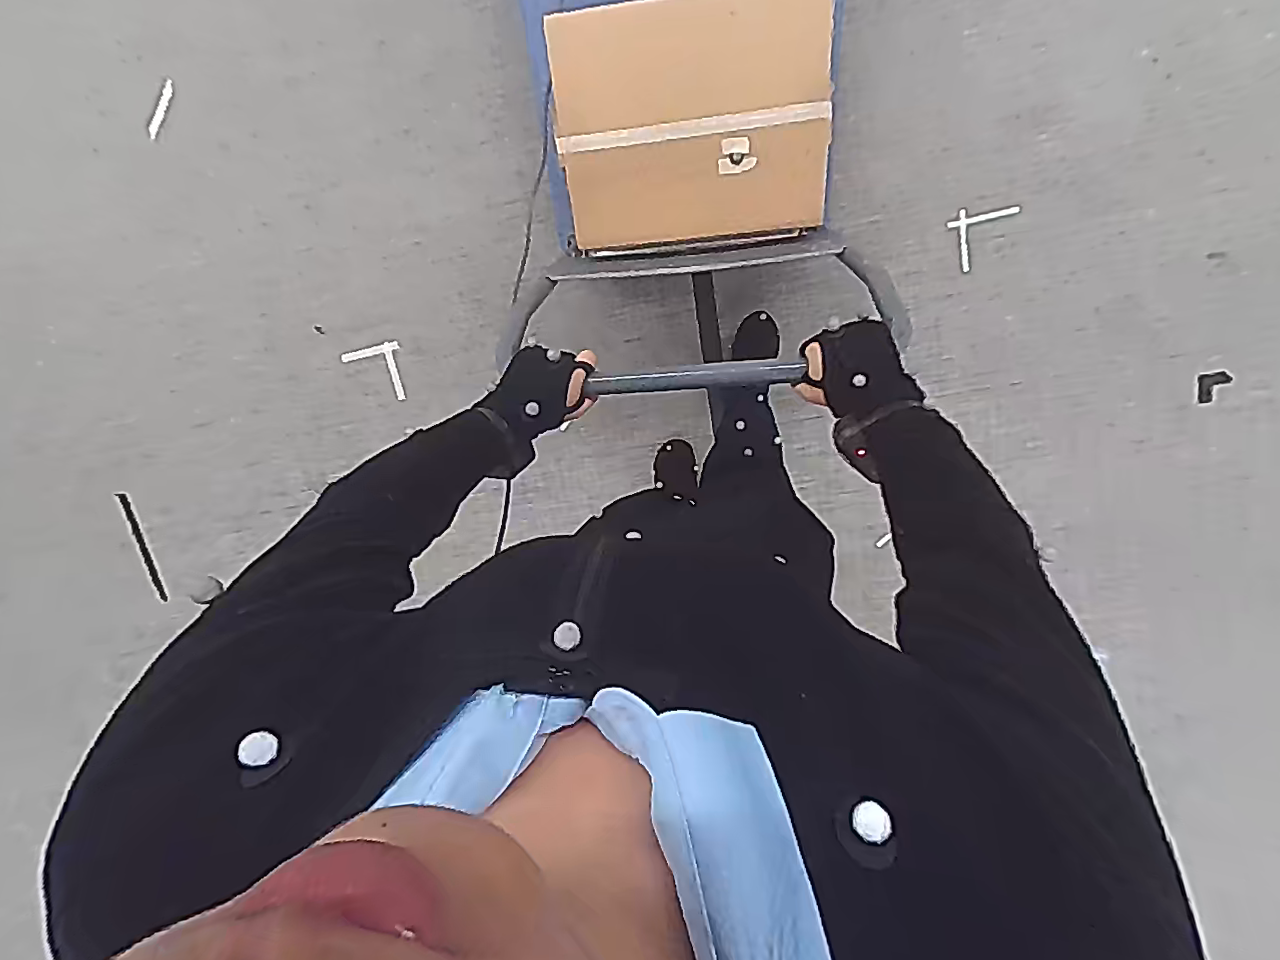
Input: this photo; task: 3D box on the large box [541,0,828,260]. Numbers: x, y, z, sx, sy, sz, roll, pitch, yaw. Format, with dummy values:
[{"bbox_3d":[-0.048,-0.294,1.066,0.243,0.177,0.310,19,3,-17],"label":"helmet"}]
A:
[{"bbox_3d":[0.081,-0.593,0.943,0.408,0.320,0.320,-3,121,7],"label":"large box"}]
